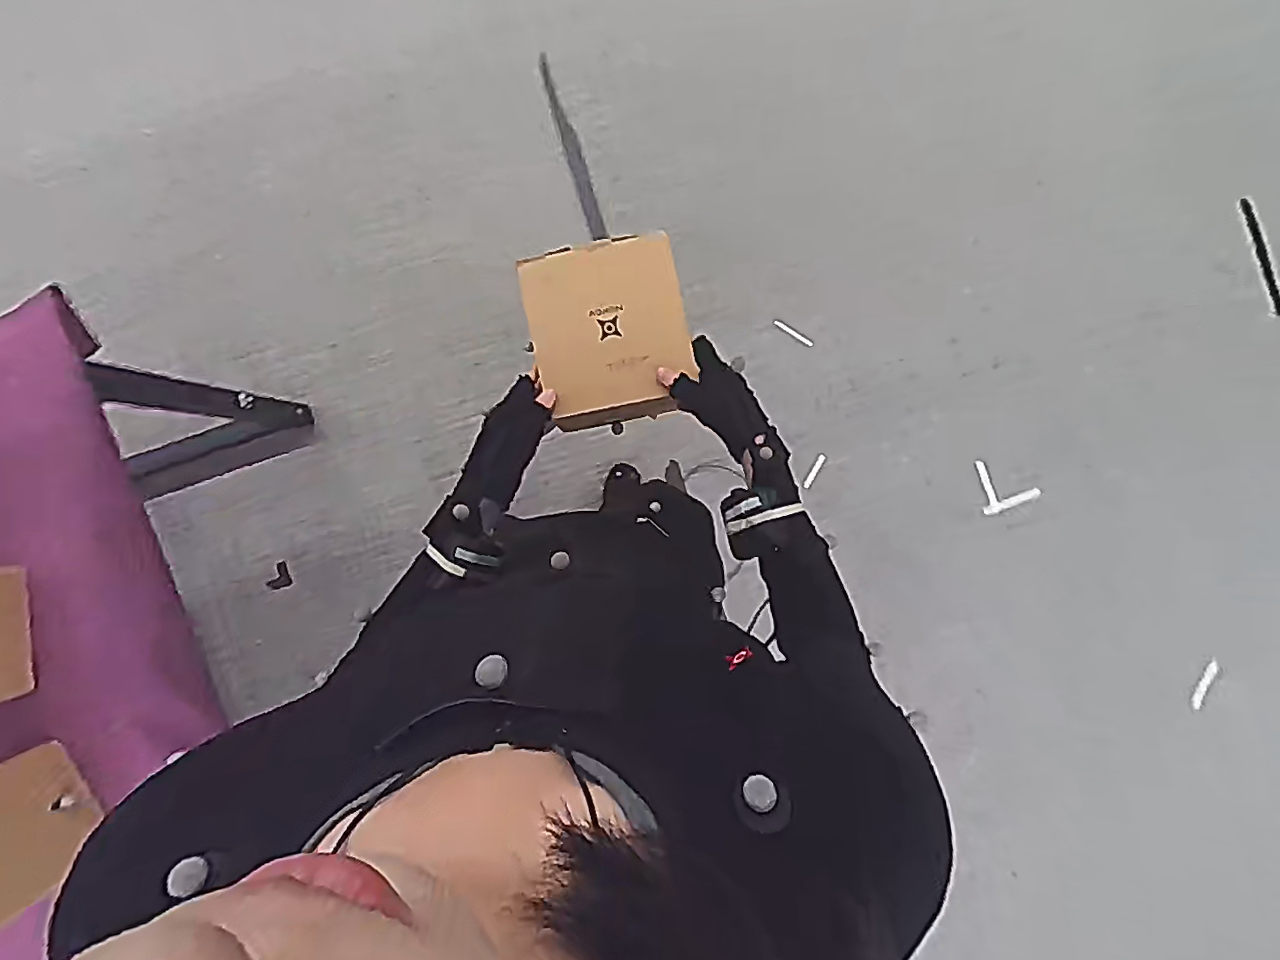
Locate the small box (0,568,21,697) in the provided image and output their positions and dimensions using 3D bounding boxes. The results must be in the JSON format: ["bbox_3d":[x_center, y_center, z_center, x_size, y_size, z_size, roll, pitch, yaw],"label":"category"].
[{"bbox_3d":[-0.937,0.213,0.668,0.168,0.176,0.179,-4,90,-1],"label":"small box"}]

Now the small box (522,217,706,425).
[{"bbox_3d":[-0.029,-0.172,0.635,0.168,0.176,0.179,-12,91,-1],"label":"small box"}]

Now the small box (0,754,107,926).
[{"bbox_3d":[-0.848,0.478,0.673,0.168,0.176,0.179,-30,90,-1],"label":"small box"}]
